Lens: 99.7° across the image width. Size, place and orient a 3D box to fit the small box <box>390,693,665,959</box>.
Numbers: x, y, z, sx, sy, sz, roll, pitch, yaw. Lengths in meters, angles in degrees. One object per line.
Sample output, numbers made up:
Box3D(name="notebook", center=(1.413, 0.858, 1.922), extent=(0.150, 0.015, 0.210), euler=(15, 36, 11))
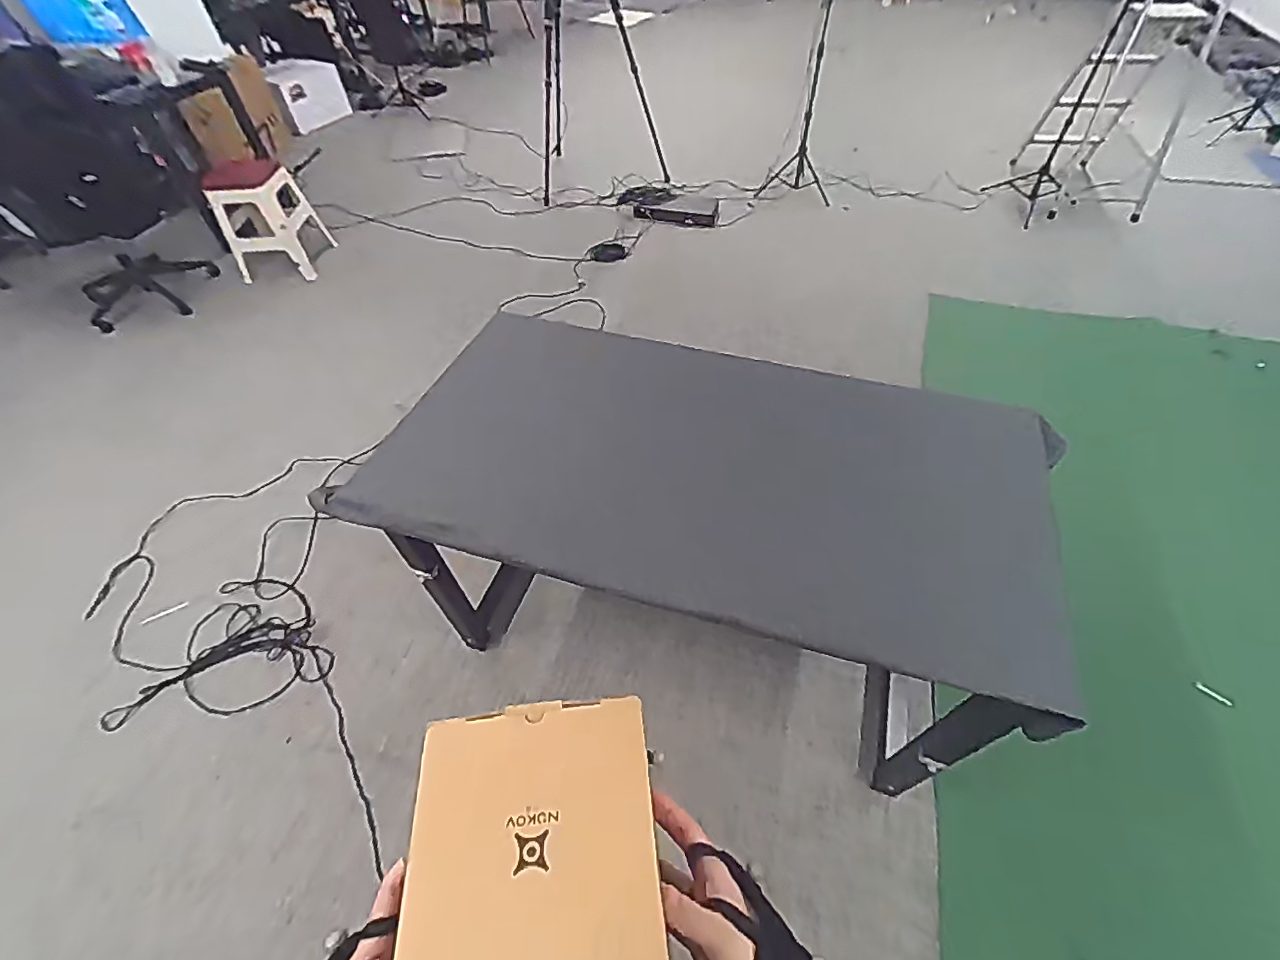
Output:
Box3D(name="small box", center=(-0.071, 0.291, 0.424), extent=(0.168, 0.176, 0.179), euler=(-6, 48, -2))
